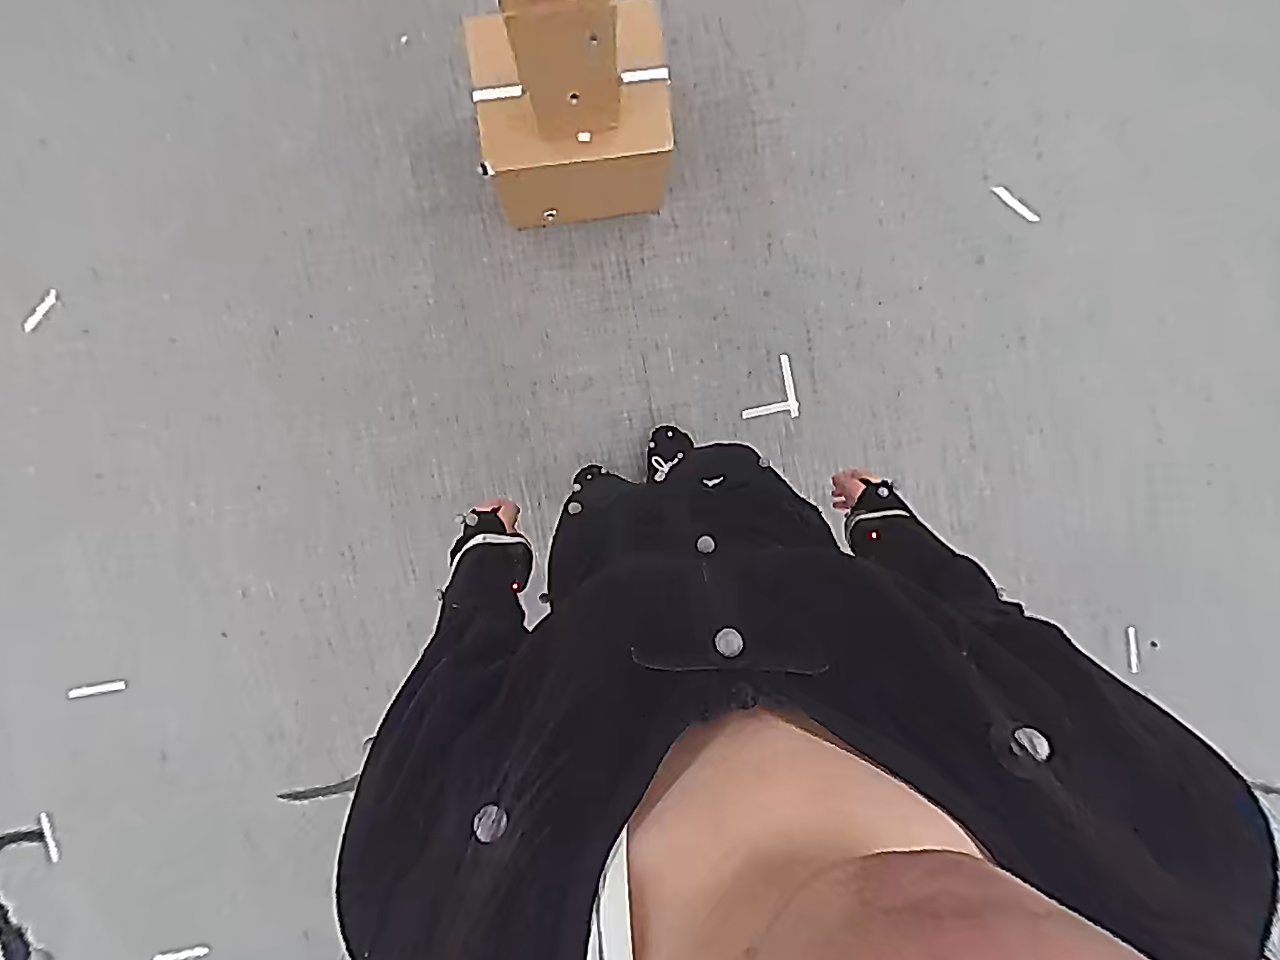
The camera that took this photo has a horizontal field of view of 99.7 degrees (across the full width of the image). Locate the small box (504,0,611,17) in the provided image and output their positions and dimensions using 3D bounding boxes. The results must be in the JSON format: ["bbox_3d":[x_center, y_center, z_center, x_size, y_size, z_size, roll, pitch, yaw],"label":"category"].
[{"bbox_3d":[-0.129,-0.782,0.725,0.168,0.176,0.179,-10,95,-2],"label":"small box"}]

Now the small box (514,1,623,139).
[{"bbox_3d":[-0.131,-0.796,1.051,0.179,0.176,0.168,-10,95,-2],"label":"small box"}]
